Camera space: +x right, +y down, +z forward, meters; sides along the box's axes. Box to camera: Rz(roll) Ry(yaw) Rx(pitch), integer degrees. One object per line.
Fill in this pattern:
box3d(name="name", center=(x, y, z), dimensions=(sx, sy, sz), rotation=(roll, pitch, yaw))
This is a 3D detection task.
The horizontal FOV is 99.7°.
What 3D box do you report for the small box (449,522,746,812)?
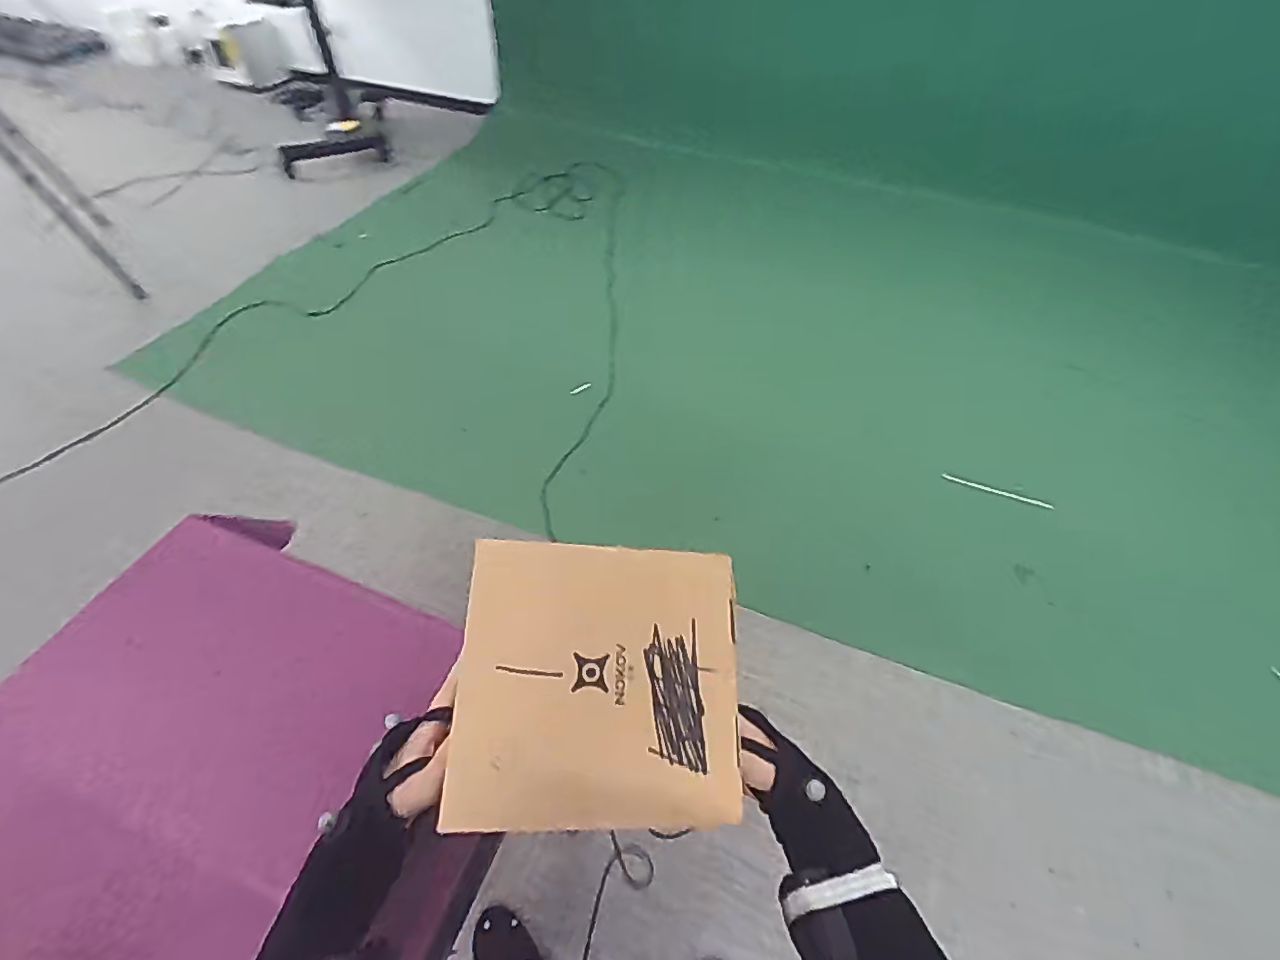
box3d(name="small box", center=(-0.032, 0.142, 0.414), dimensions=(0.179, 0.176, 0.168), rotation=(7, 67, -9))
